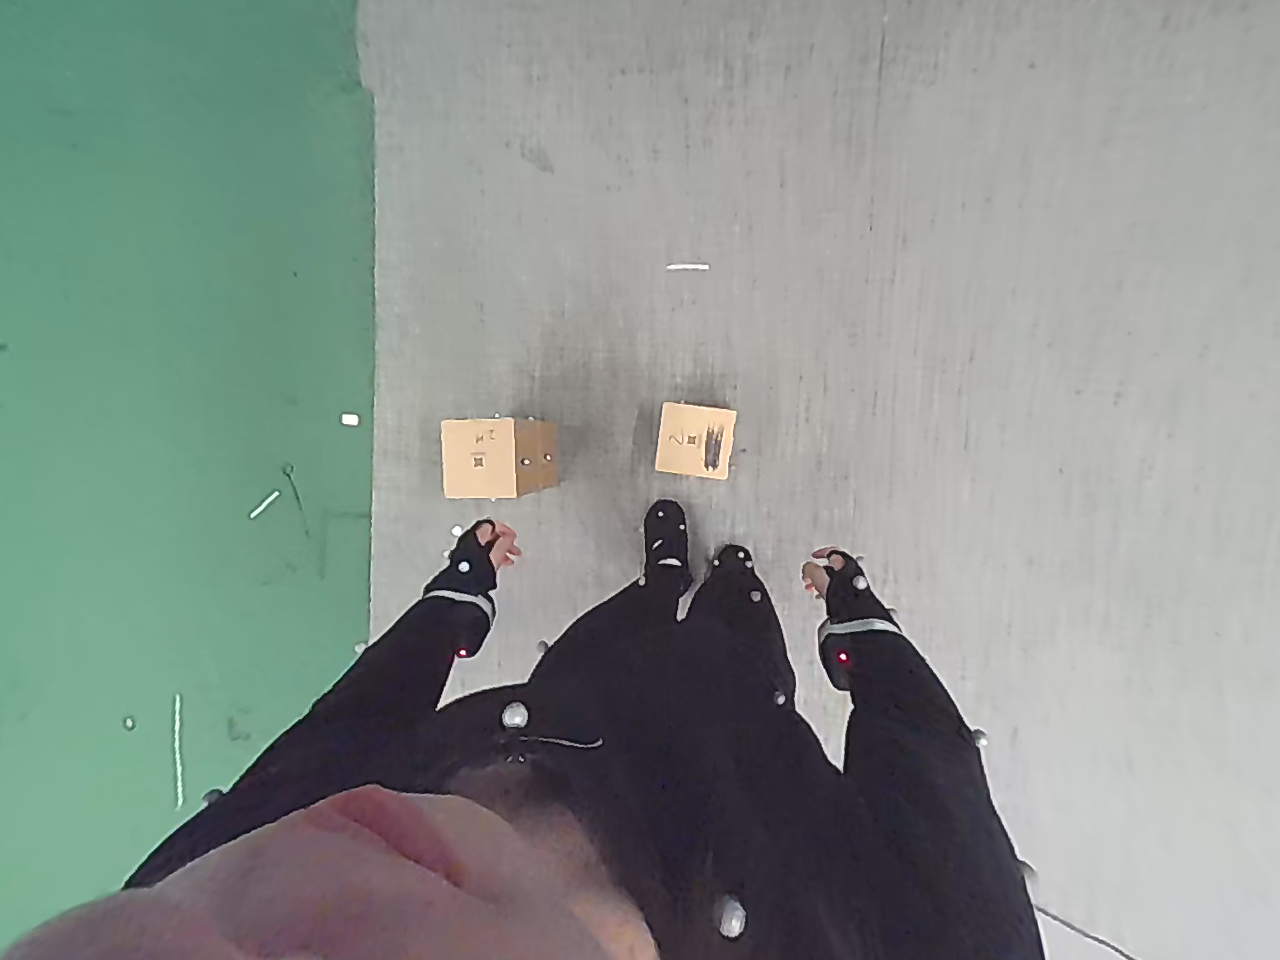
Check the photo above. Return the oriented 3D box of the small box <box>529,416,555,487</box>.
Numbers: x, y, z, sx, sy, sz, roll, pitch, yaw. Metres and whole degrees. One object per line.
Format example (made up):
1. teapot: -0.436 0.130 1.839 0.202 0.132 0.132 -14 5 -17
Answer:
1. small box: -0.323 -0.078 1.415 0.168 0.176 0.179 2 93 7

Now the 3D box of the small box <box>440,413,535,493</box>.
1. small box: -0.346 -0.065 1.252 0.168 0.176 0.179 0 94 6
